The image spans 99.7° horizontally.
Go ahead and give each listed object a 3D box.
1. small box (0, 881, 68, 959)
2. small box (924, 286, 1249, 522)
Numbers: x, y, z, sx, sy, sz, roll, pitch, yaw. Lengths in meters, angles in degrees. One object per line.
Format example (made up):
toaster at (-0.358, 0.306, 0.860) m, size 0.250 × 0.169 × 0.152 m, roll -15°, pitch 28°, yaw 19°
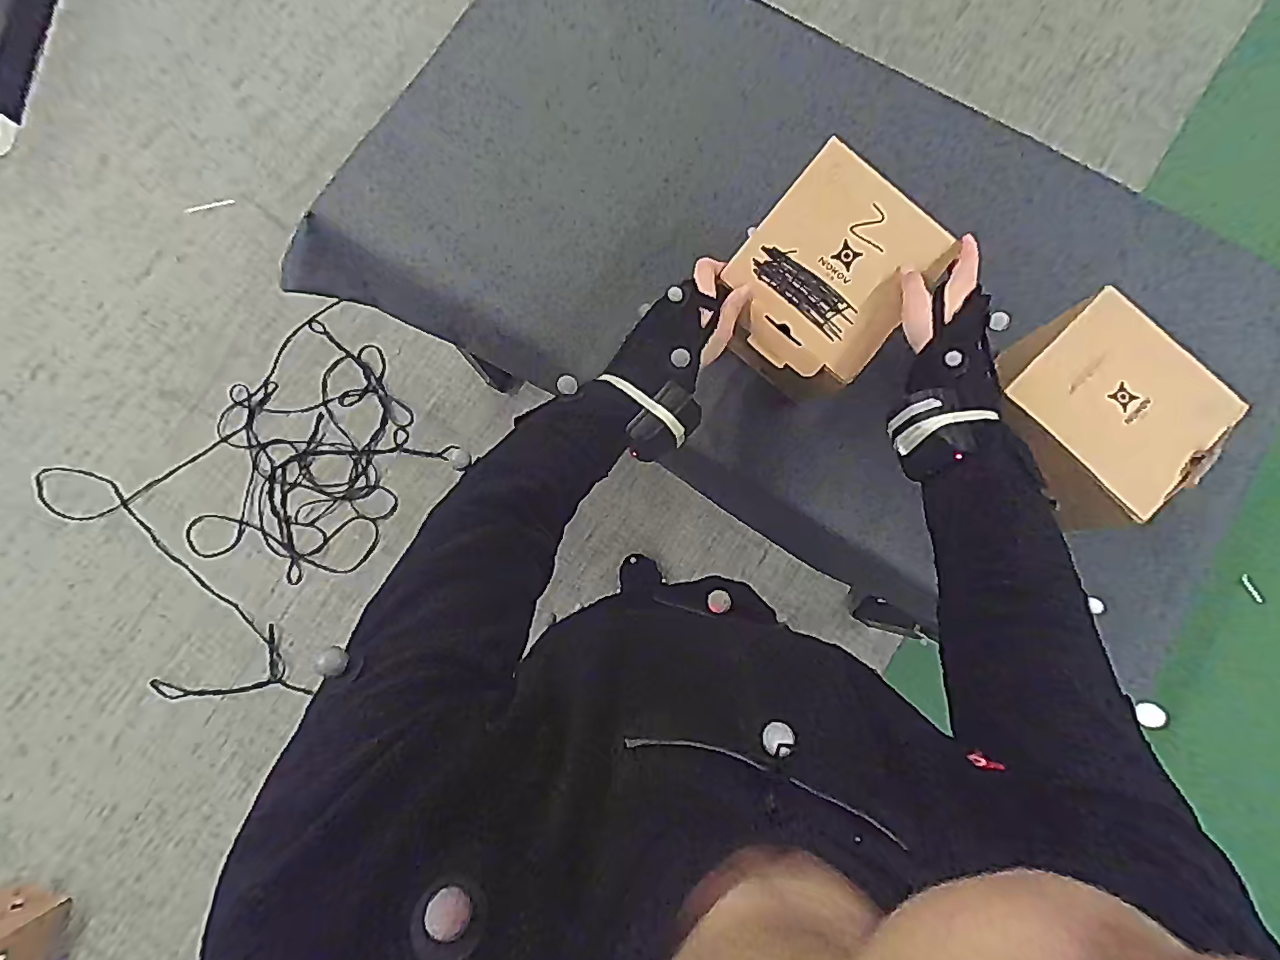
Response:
small box at (-1.415, 1.023, 1.168) m, size 0.168 × 0.176 × 0.179 m, roll 12°, pitch 81°, yaw 2°
small box at (0.466, -0.067, 0.597) m, size 0.168 × 0.176 × 0.179 m, roll -42°, pitch 83°, yaw -7°
